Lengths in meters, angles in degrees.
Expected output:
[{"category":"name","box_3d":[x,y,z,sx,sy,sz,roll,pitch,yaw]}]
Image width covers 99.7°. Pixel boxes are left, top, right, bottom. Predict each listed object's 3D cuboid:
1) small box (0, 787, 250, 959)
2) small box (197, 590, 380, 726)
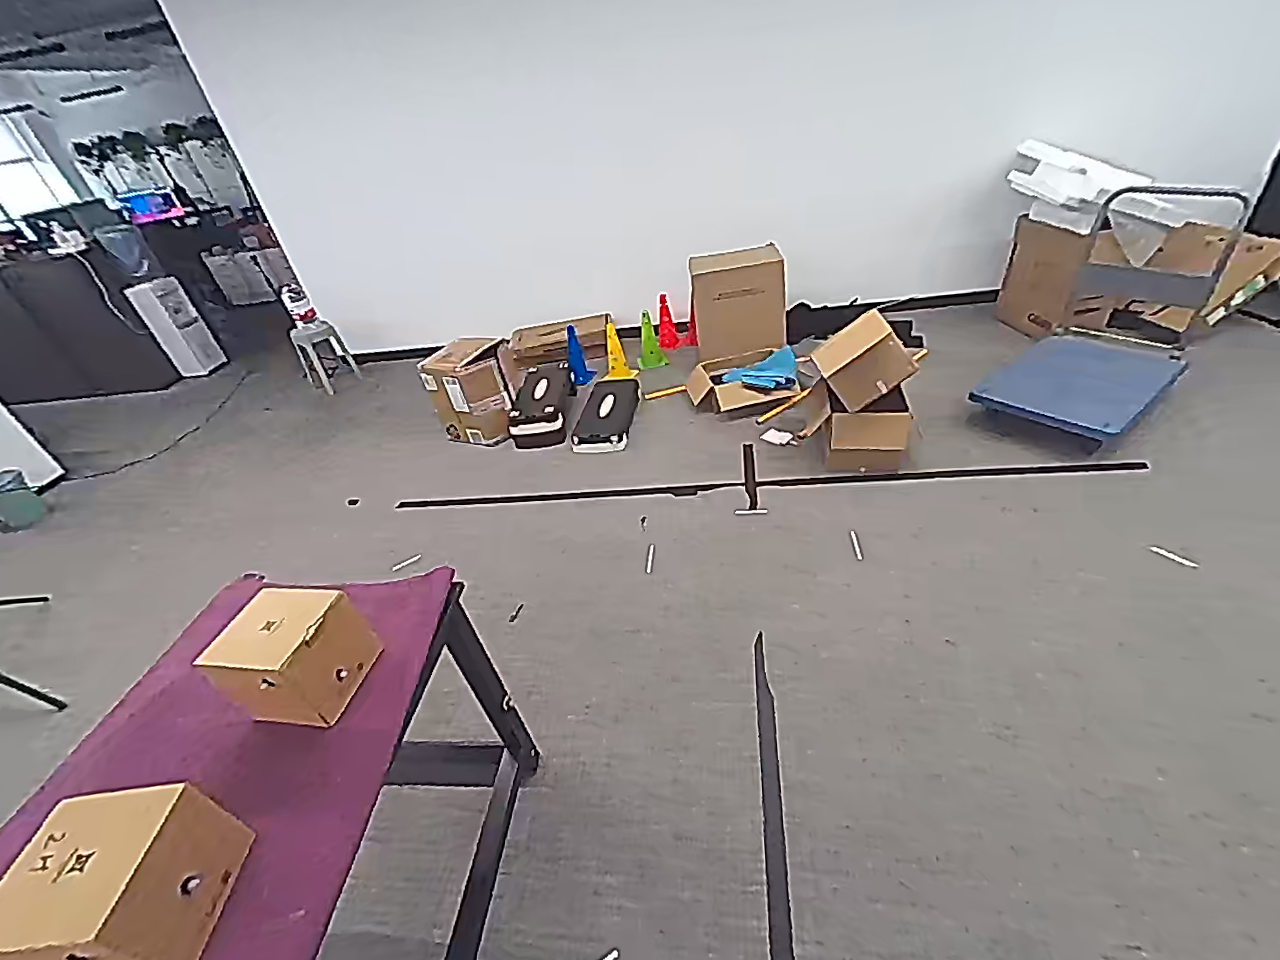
[{"category":"small box","box_3d":[-0.656,0.523,0.690,0.179,0.176,0.168,-9,35,2]},{"category":"small box","box_3d":[-0.609,0.315,0.962,0.179,0.176,0.168,-2,37,14]}]
